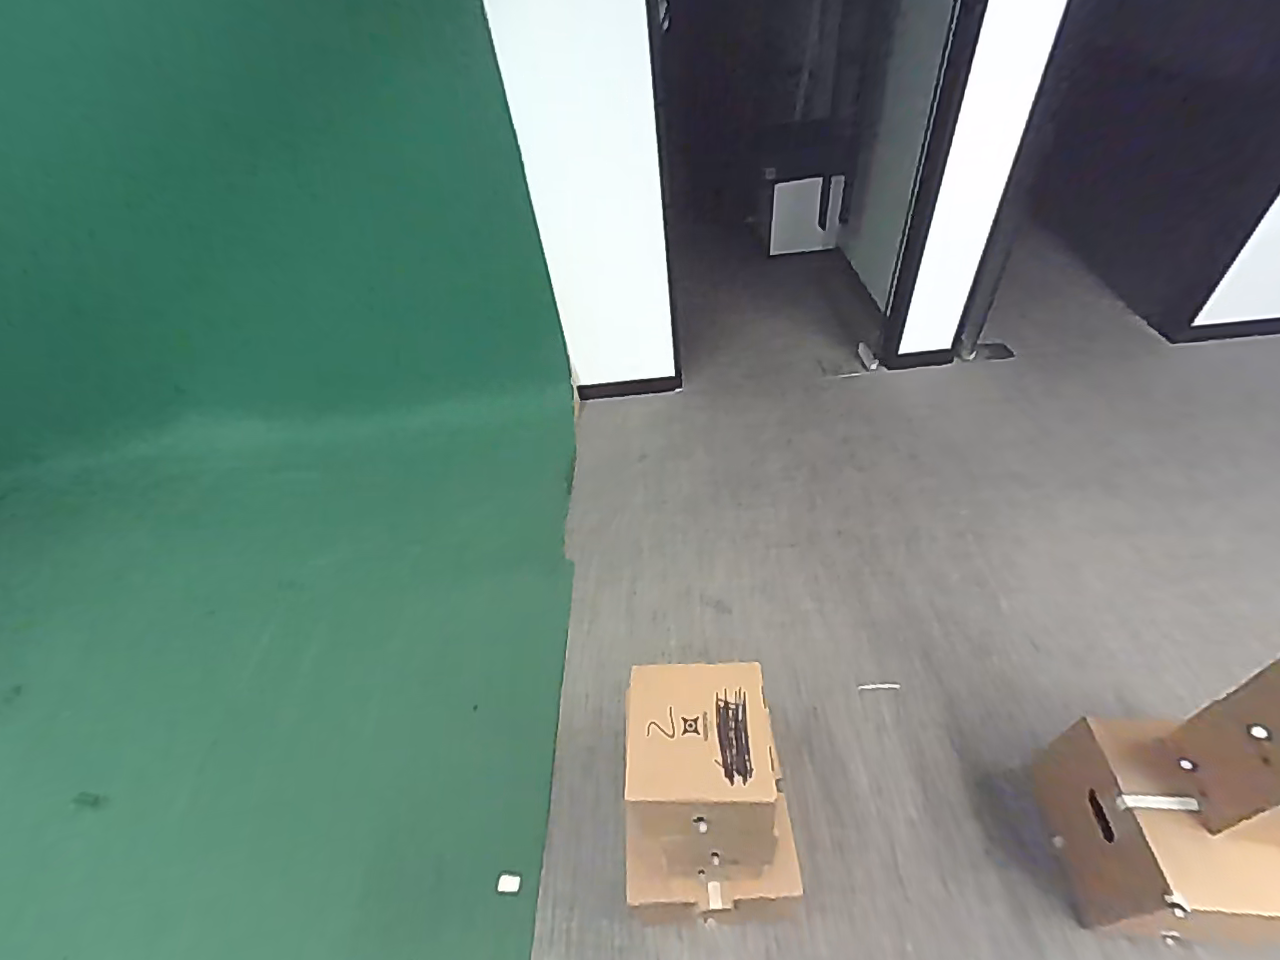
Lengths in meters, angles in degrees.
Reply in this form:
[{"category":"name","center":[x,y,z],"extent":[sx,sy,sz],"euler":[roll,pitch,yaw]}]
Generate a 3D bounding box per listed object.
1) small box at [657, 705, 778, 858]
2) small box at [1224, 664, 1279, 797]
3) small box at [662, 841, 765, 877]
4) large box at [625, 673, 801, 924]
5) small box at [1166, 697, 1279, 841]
[{"category":"small box","center":[0.117,0.472,0.841],"extent":[0.168,0.176,0.179],"euler":[-4,44,5]},{"category":"small box","center":[1.045,0.372,0.790],"extent":[0.179,0.176,0.168],"euler":[2,44,12]},{"category":"small box","center":[0.128,0.587,0.959],"extent":[0.168,0.176,0.179],"euler":[-4,44,5]},{"category":"large box","center":[0.144,0.697,1.193],"extent":[0.320,0.320,0.408],"euler":[-5,44,4]},{"category":"small box","center":[1.061,0.488,0.906],"extent":[0.179,0.176,0.168],"euler":[2,44,11]}]
